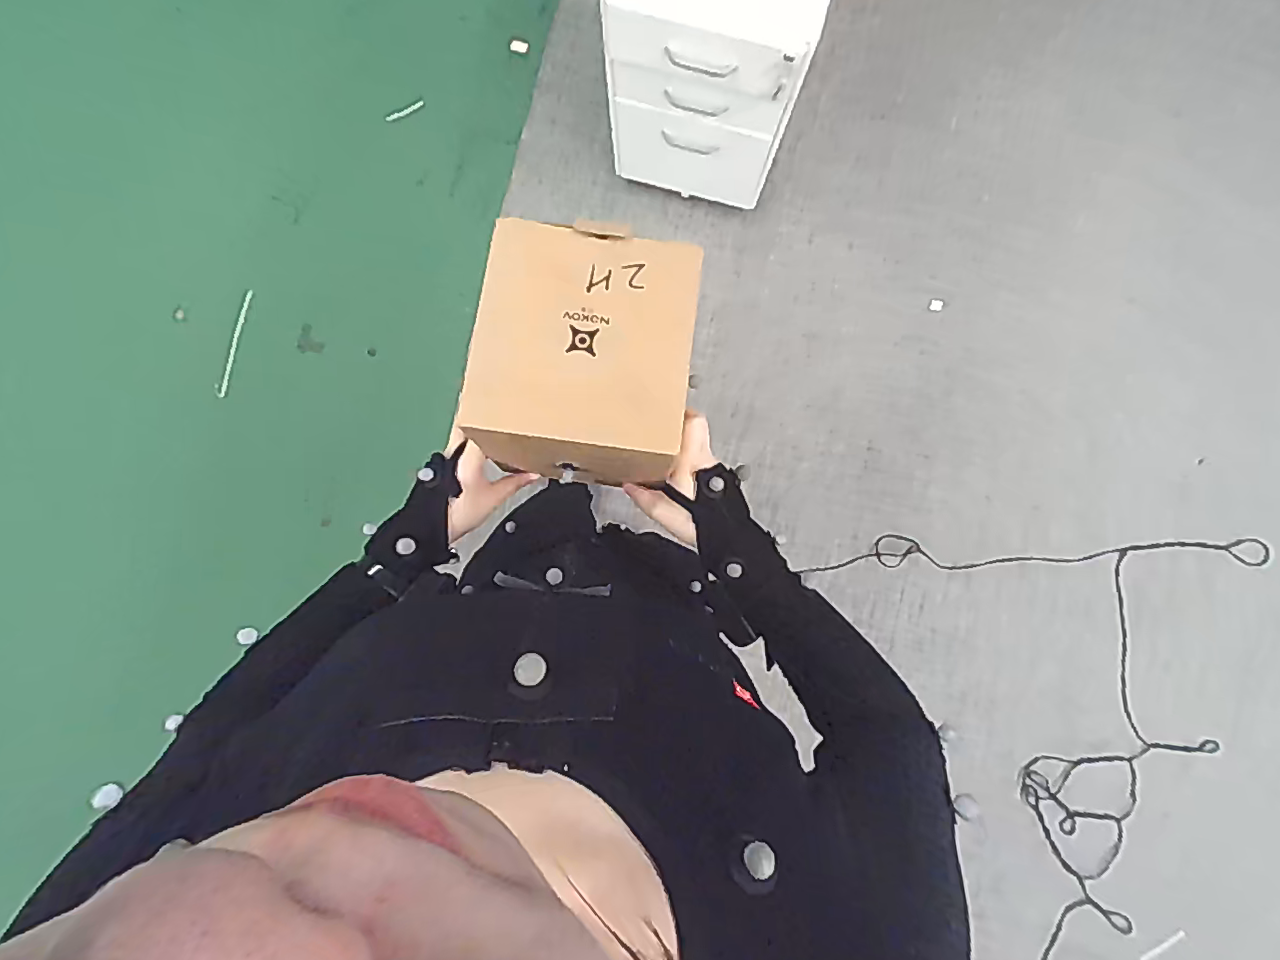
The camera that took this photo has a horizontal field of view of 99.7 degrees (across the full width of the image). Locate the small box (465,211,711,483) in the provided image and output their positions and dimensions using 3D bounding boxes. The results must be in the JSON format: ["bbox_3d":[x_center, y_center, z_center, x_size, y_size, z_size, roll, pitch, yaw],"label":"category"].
[{"bbox_3d":[-0.041,-0.101,0.488,0.168,0.176,0.179,9,79,-3],"label":"small box"}]
